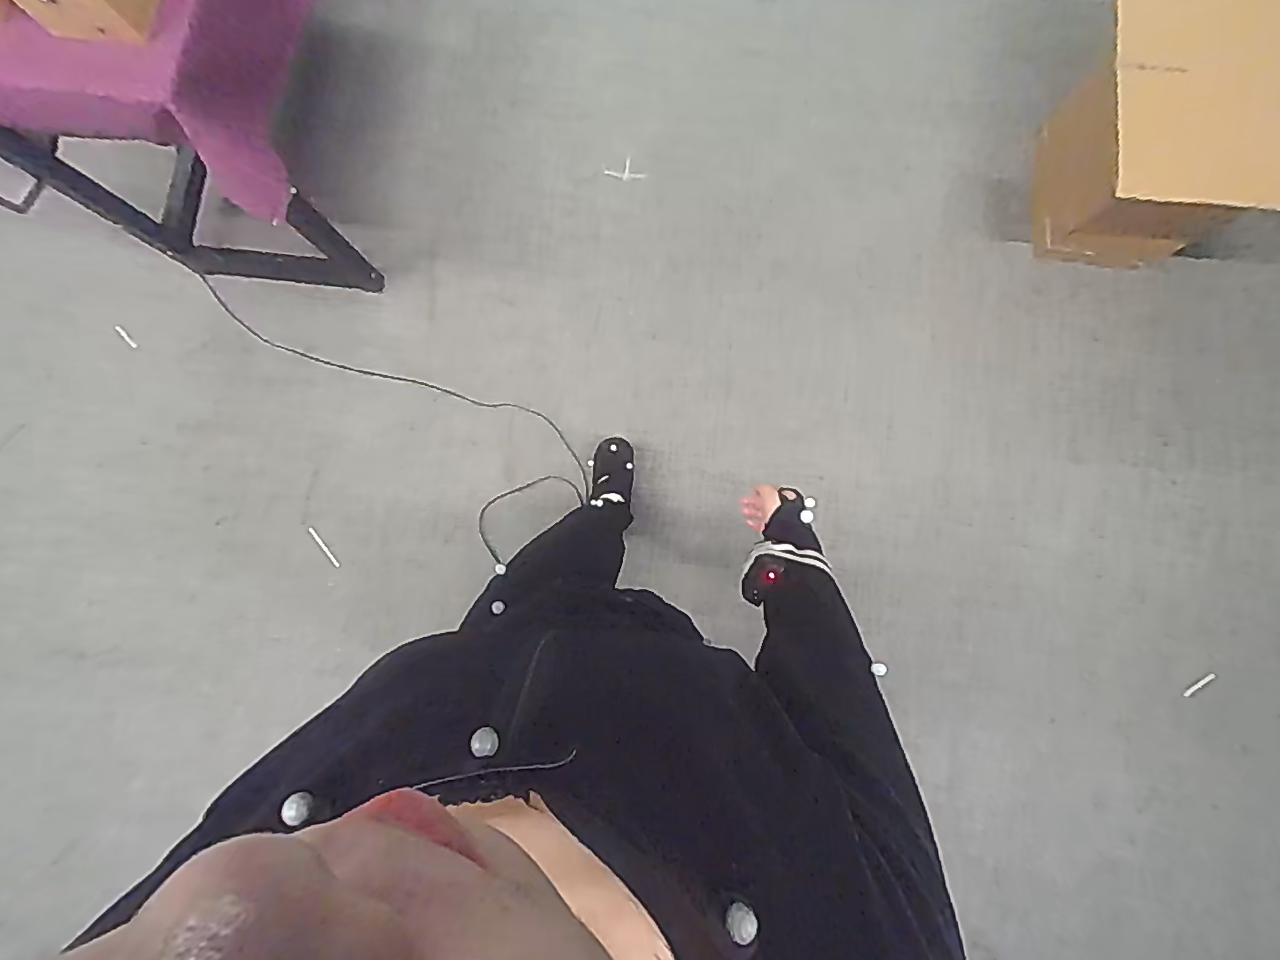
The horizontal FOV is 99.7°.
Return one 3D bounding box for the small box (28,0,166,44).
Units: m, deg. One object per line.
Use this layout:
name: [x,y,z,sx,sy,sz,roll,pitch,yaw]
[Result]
small box: [-0.870,-0.819,0.828,0.168,0.176,0.179,7,83,2]
